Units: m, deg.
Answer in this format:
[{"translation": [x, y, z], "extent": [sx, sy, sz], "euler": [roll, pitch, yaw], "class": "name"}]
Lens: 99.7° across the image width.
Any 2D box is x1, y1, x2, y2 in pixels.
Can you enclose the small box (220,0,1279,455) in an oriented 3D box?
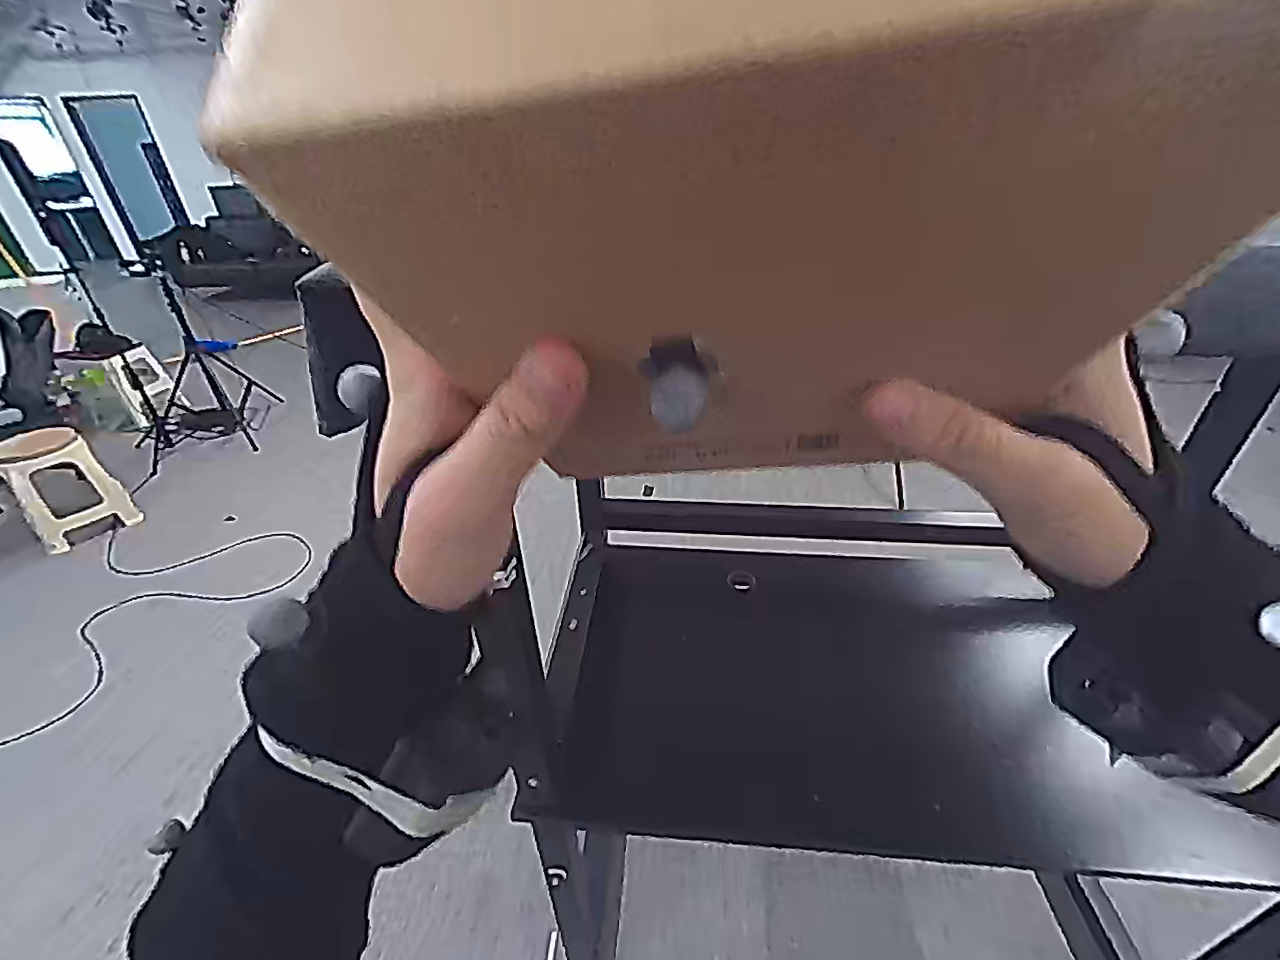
[{"translation": [0.034, -0.112, 0.162], "extent": [0.168, 0.176, 0.179], "euler": [-3, 72, 9], "class": "small box"}]
